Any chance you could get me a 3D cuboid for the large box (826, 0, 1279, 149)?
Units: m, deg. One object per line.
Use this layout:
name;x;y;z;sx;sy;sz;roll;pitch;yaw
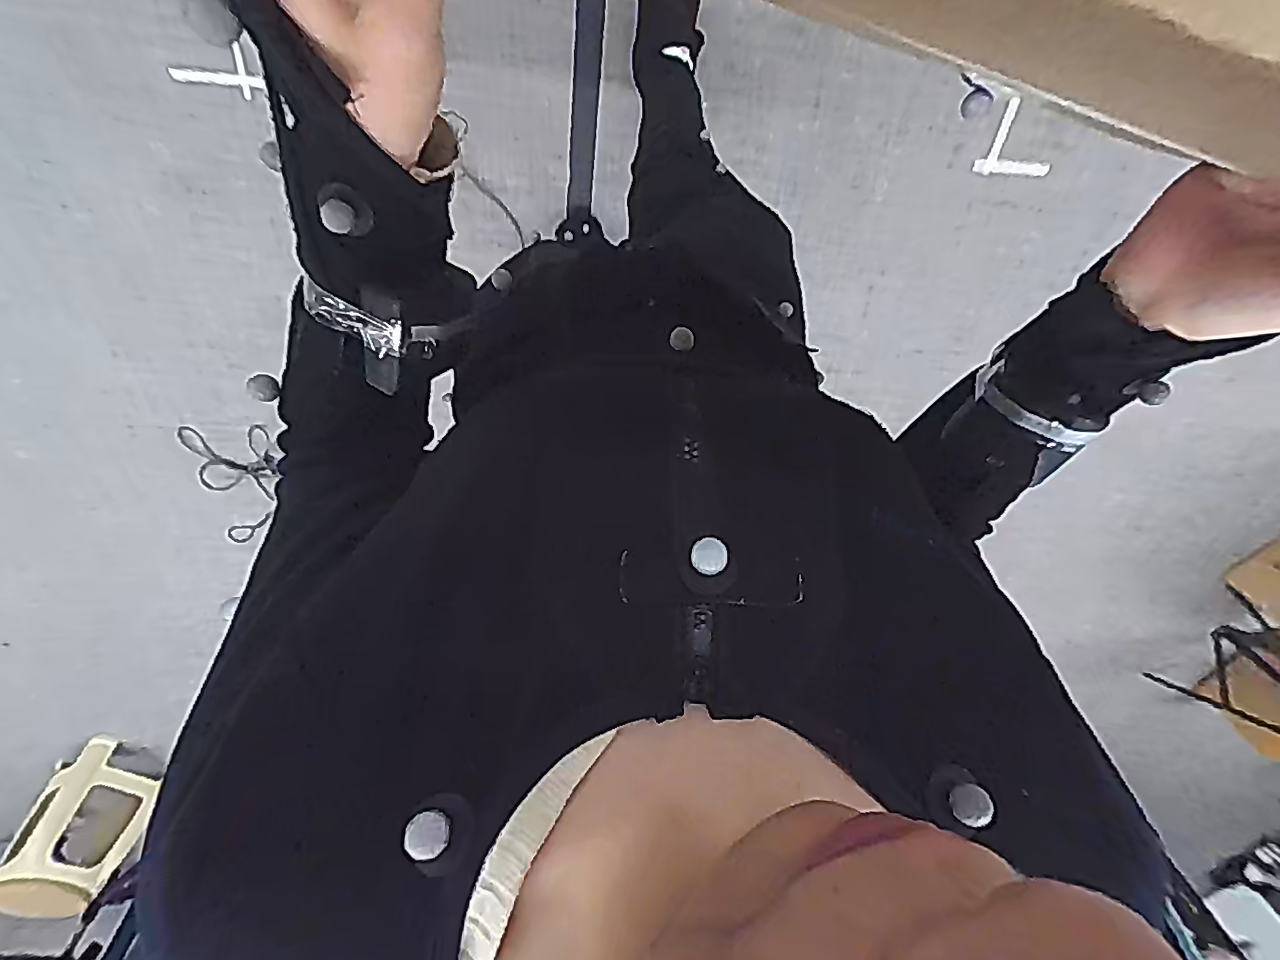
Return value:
large box;0.122;-0.281;0.088;0.408;0.320;0.320;11;133;-8
